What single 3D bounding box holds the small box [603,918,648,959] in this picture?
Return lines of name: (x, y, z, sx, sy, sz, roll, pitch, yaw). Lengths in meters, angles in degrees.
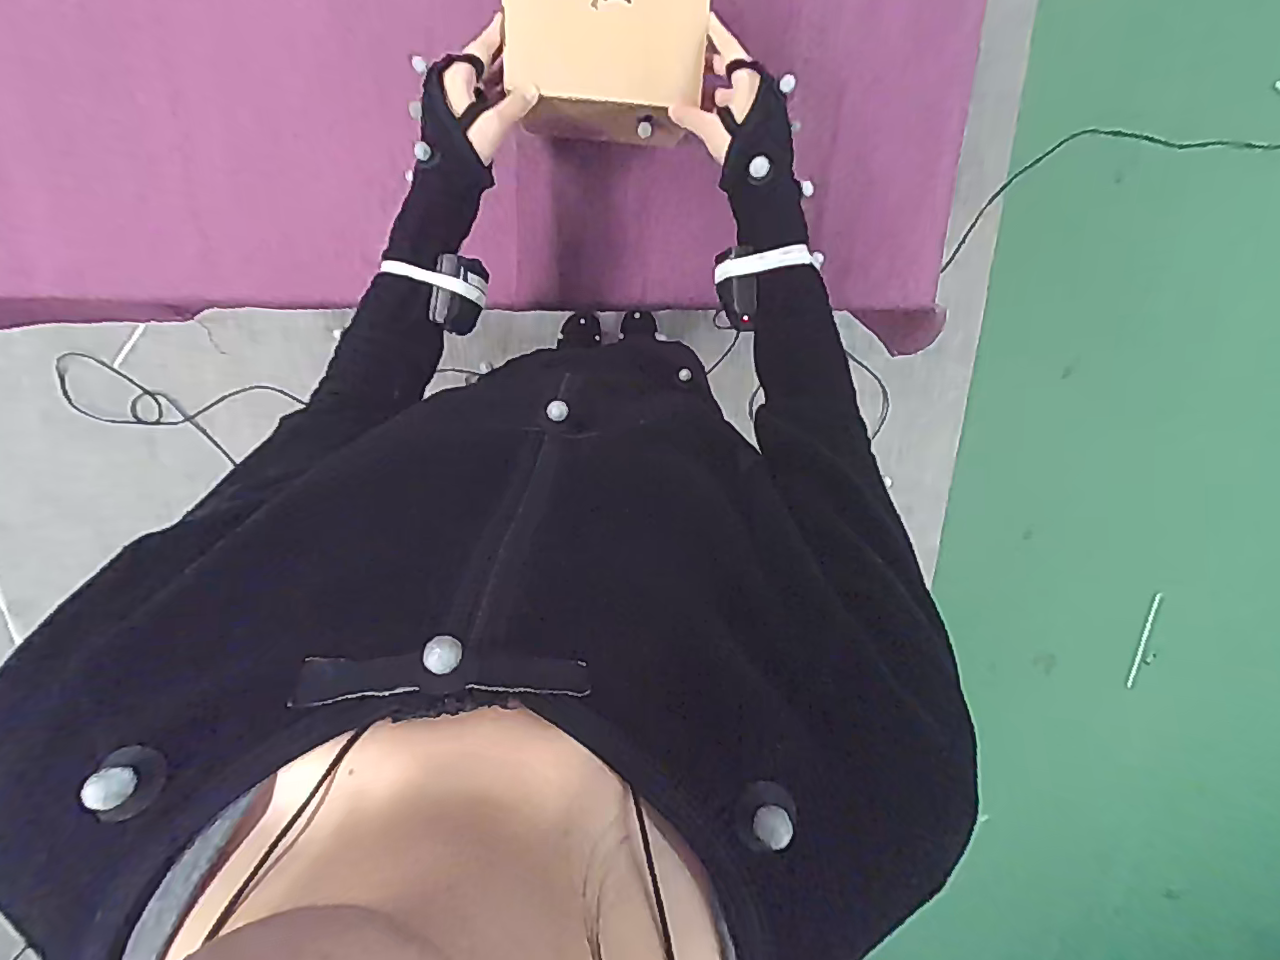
small box: (-0.056, 1.813, 2.054, 0.168, 0.176, 0.179, 0, 107, -4)
